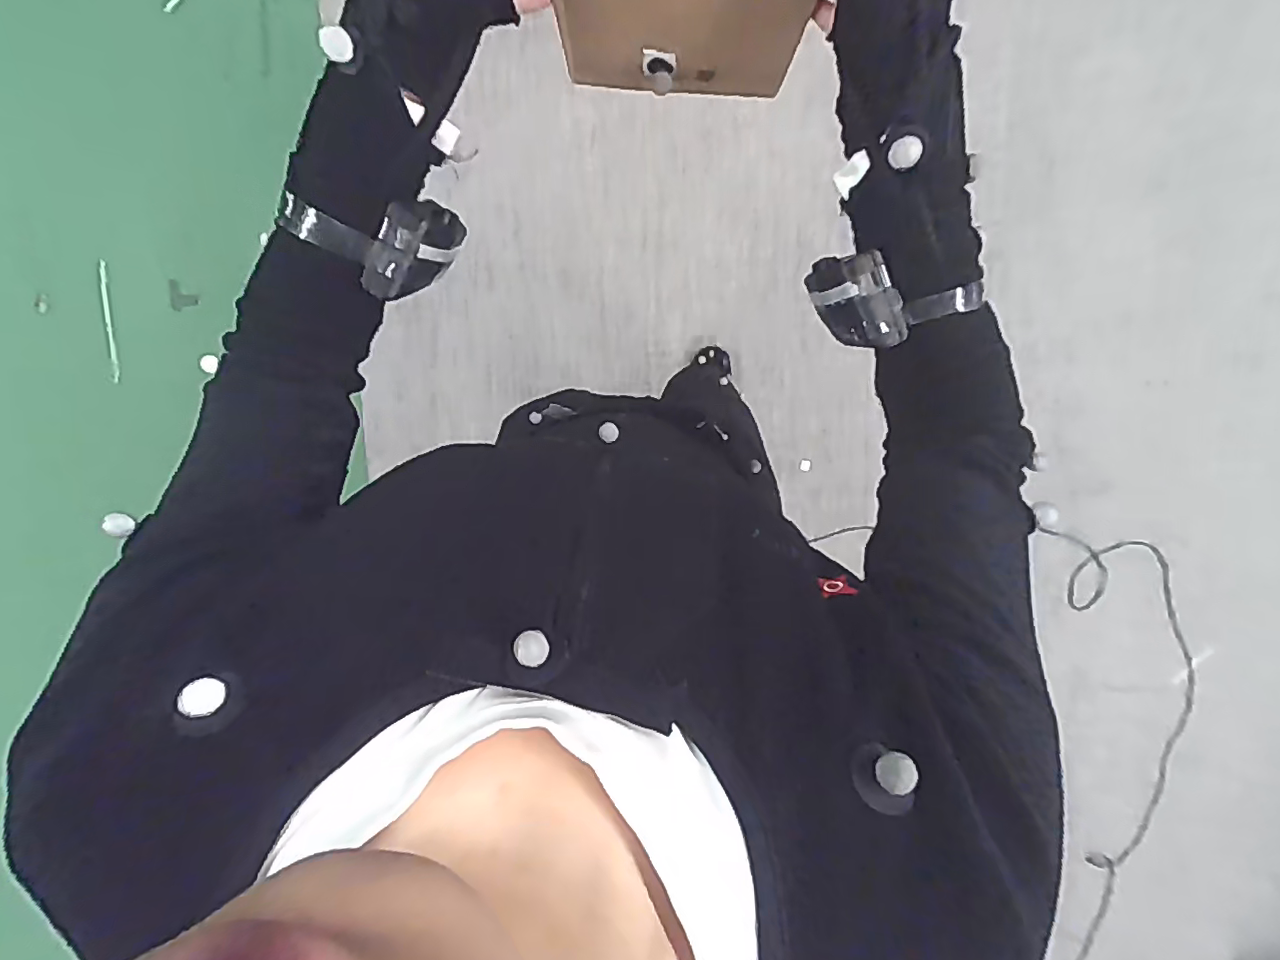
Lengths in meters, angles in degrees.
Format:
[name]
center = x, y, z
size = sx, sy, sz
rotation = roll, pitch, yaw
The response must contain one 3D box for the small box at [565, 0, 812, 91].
[small box]
center = 0.033, -0.389, 0.336
size = 0.168, 0.176, 0.179
rotation = 4, 98, 0
